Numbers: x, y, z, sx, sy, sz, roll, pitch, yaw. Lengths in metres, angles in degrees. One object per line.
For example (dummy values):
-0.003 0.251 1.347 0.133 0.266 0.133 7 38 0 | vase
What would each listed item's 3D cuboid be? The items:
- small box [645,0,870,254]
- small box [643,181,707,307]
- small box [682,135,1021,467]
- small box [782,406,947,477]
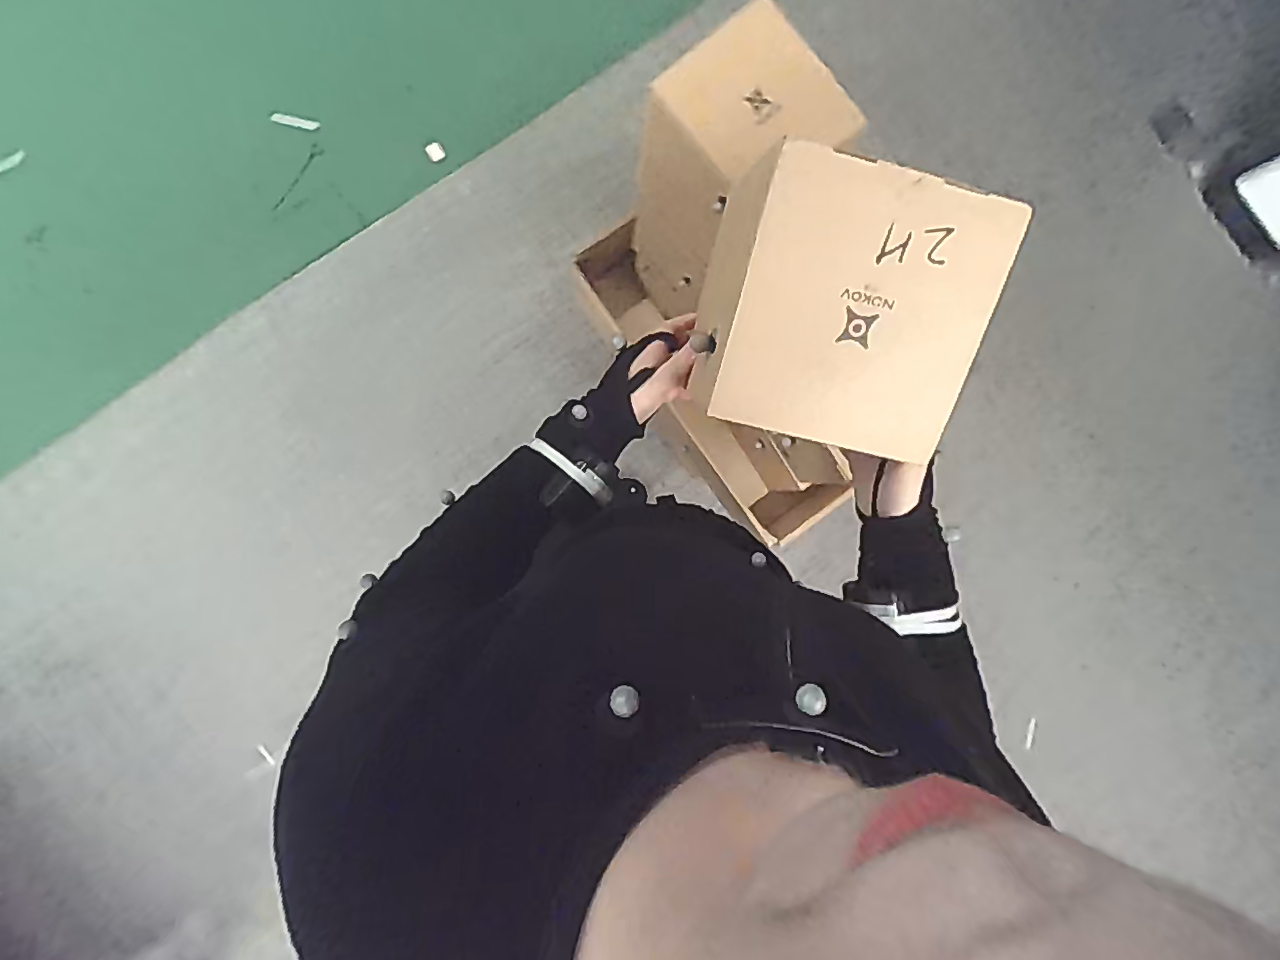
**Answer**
0.122 -0.394 0.641 0.168 0.176 0.179 -41 93 -4 | small box
0.117 -0.381 0.804 0.179 0.176 0.168 -39 93 -5 | small box
0.134 -0.130 0.424 0.168 0.176 0.179 11 107 -7 | small box
0.303 -0.114 0.814 0.179 0.176 0.168 -33 92 -4 | small box
